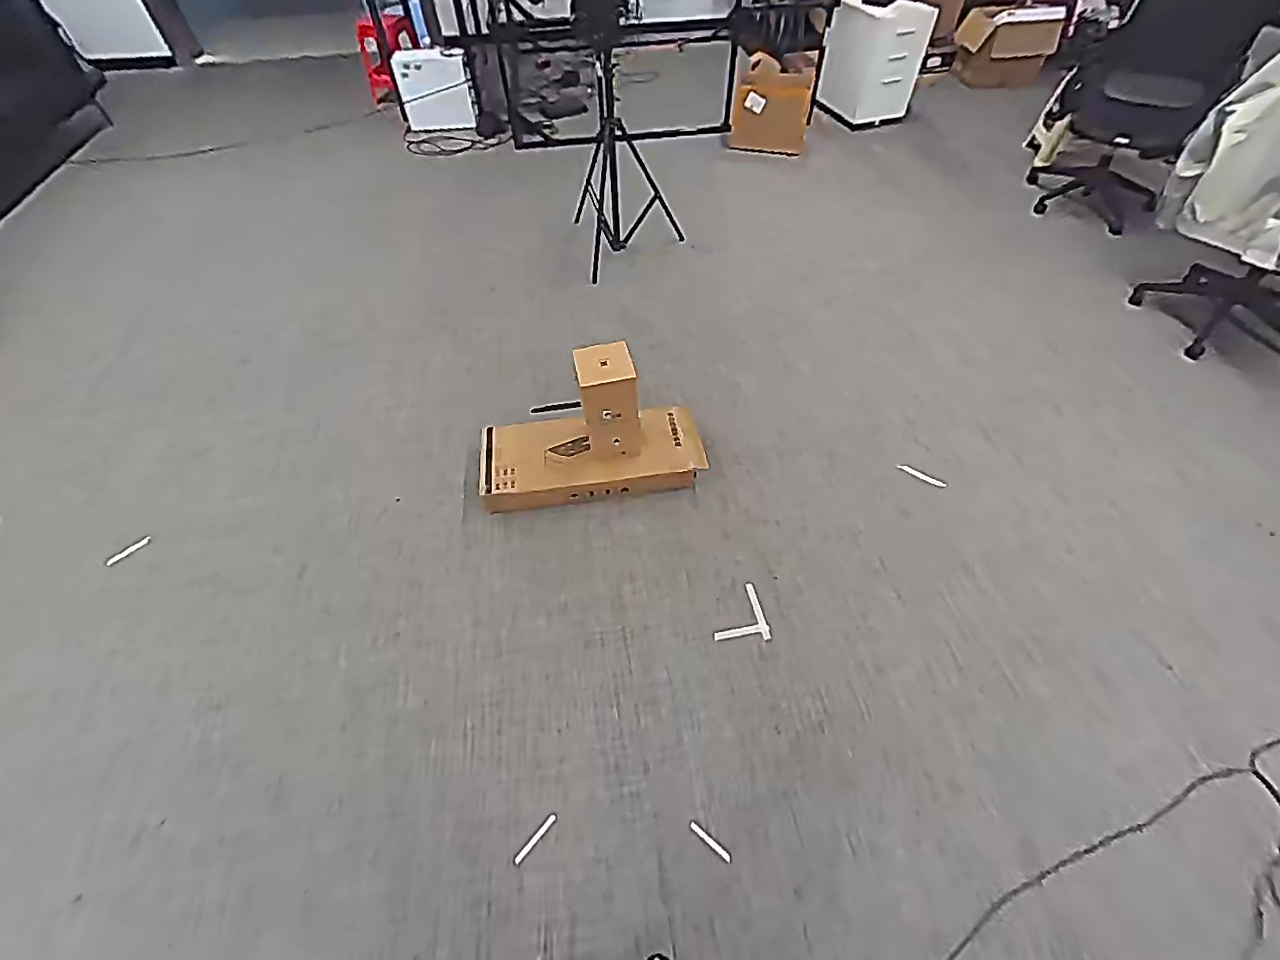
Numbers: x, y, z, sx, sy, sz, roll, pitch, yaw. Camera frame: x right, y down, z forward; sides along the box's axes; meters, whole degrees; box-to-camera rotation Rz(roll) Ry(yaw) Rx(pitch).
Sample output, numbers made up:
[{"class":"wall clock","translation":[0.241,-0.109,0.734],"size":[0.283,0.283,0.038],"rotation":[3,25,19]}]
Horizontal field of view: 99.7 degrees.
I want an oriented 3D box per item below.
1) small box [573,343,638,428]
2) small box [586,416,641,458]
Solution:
[{"class":"small box","translation":[-0.104,-0.286,1.646],"size":[0.168,0.176,0.179],"rotation":[-12,53,-7]},{"class":"small box","translation":[-0.092,-0.187,1.776],"size":[0.168,0.176,0.179],"rotation":[-9,53,-6]}]
